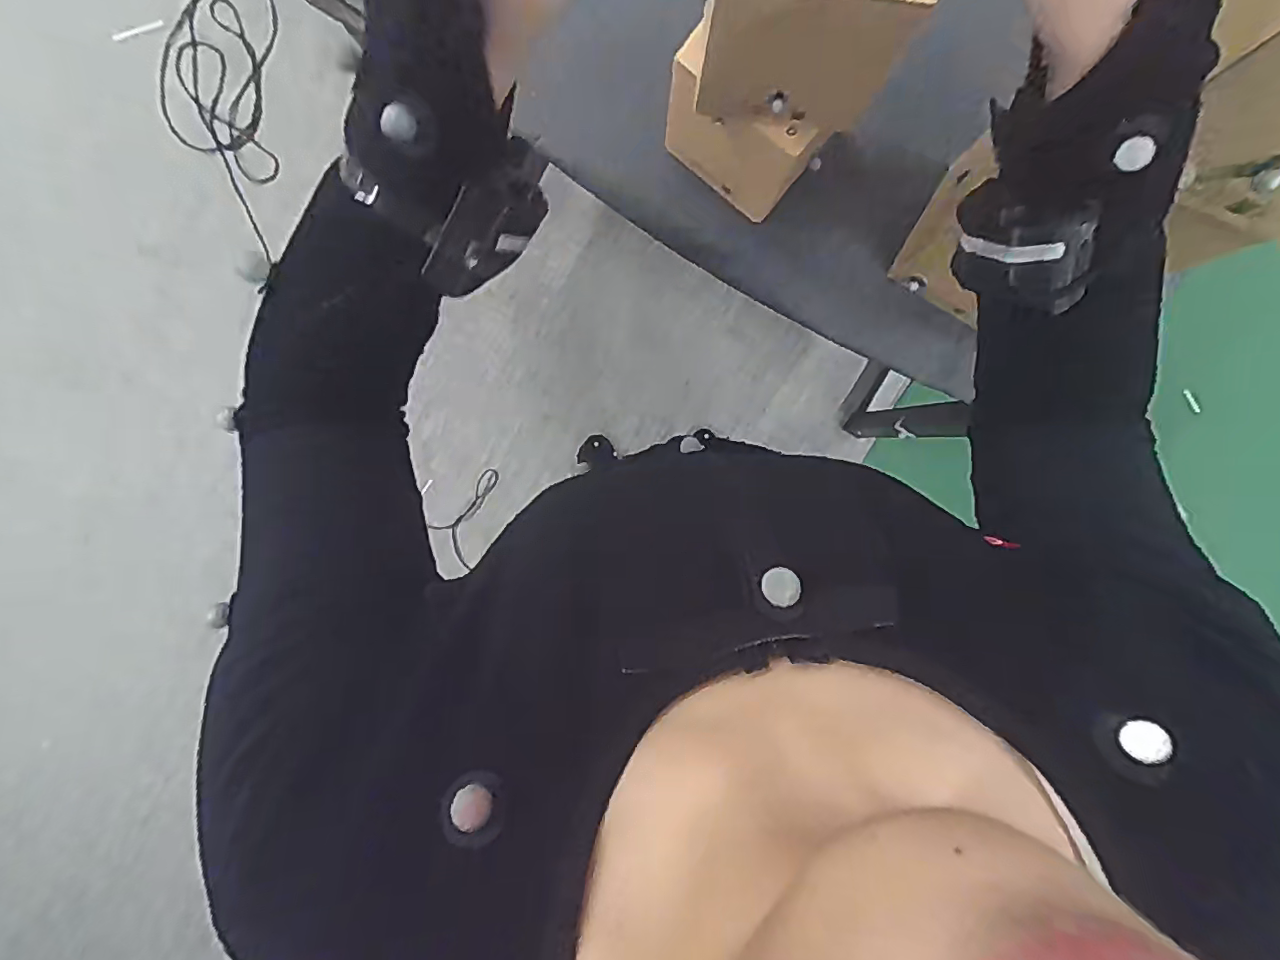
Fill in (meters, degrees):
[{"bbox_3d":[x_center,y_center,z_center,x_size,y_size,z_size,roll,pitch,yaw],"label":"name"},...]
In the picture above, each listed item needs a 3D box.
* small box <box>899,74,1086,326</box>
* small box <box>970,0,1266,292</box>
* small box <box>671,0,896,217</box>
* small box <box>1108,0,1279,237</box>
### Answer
[{"bbox_3d":[0.444,-0.310,0.643,0.168,0.176,0.179,30,91,-1],"label":"small box"},{"bbox_3d":[0.441,-0.300,0.482,0.168,0.176,0.179,26,93,0],"label":"small box"},{"bbox_3d":[0.149,-0.457,0.636,0.168,0.176,0.179,39,92,-2],"label":"small box"},{"bbox_3d":[0.440,-0.283,0.317,0.168,0.176,0.179,23,92,1],"label":"small box"}]
